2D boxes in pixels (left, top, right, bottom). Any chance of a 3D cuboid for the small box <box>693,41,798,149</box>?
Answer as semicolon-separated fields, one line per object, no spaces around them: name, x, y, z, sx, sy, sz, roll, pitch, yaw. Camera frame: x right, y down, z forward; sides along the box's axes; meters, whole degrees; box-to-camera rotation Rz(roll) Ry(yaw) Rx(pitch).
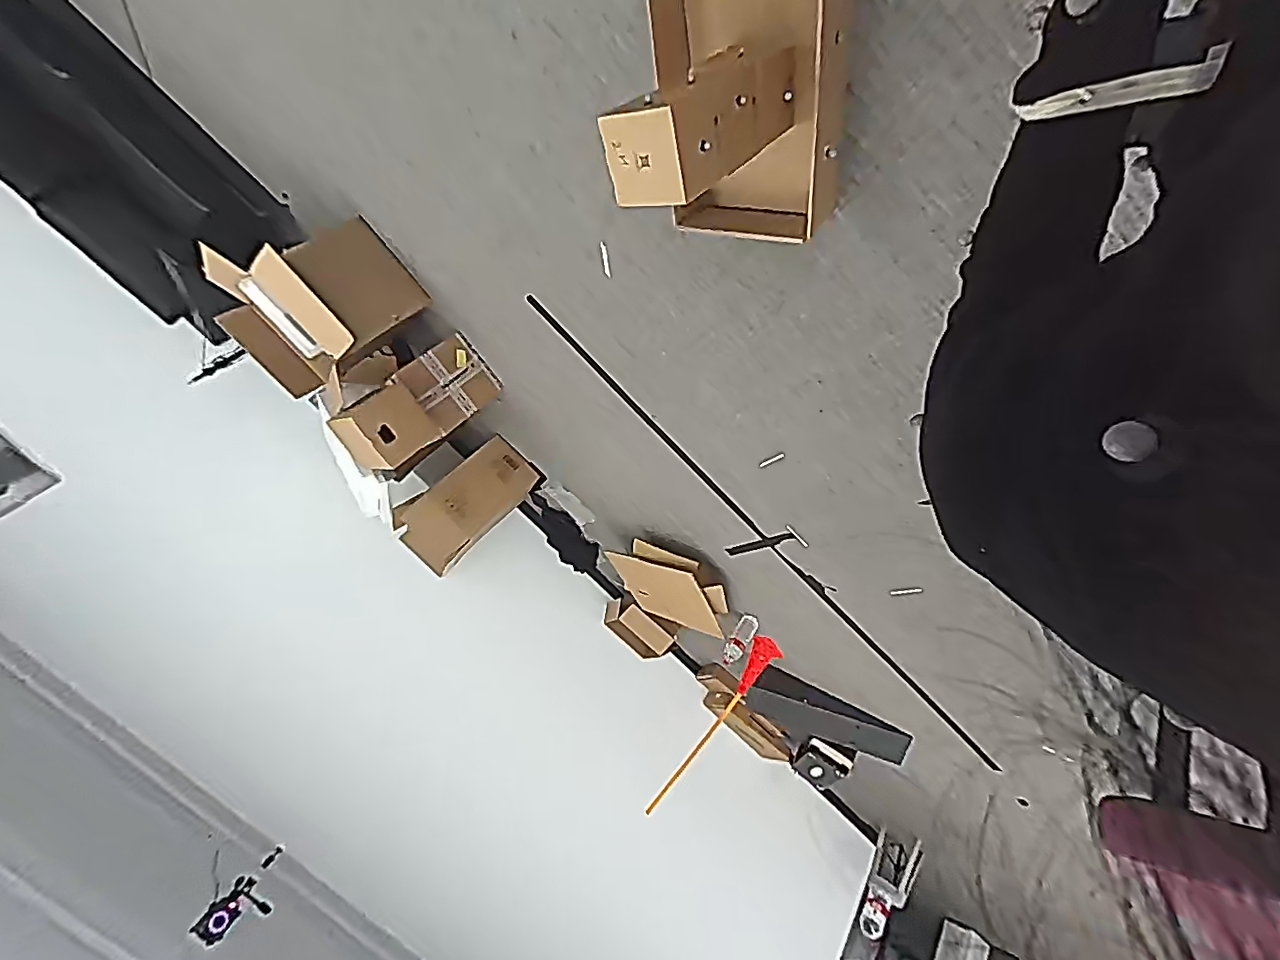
small box;0.243;-0.883;1.242;0.179;0.176;0.168;21;145;30

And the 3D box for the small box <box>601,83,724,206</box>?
small box;0.056;-0.668;1.082;0.179;0.176;0.168;18;142;34

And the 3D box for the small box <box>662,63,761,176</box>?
small box;0.150;-0.773;1.169;0.179;0.176;0.168;20;143;35
